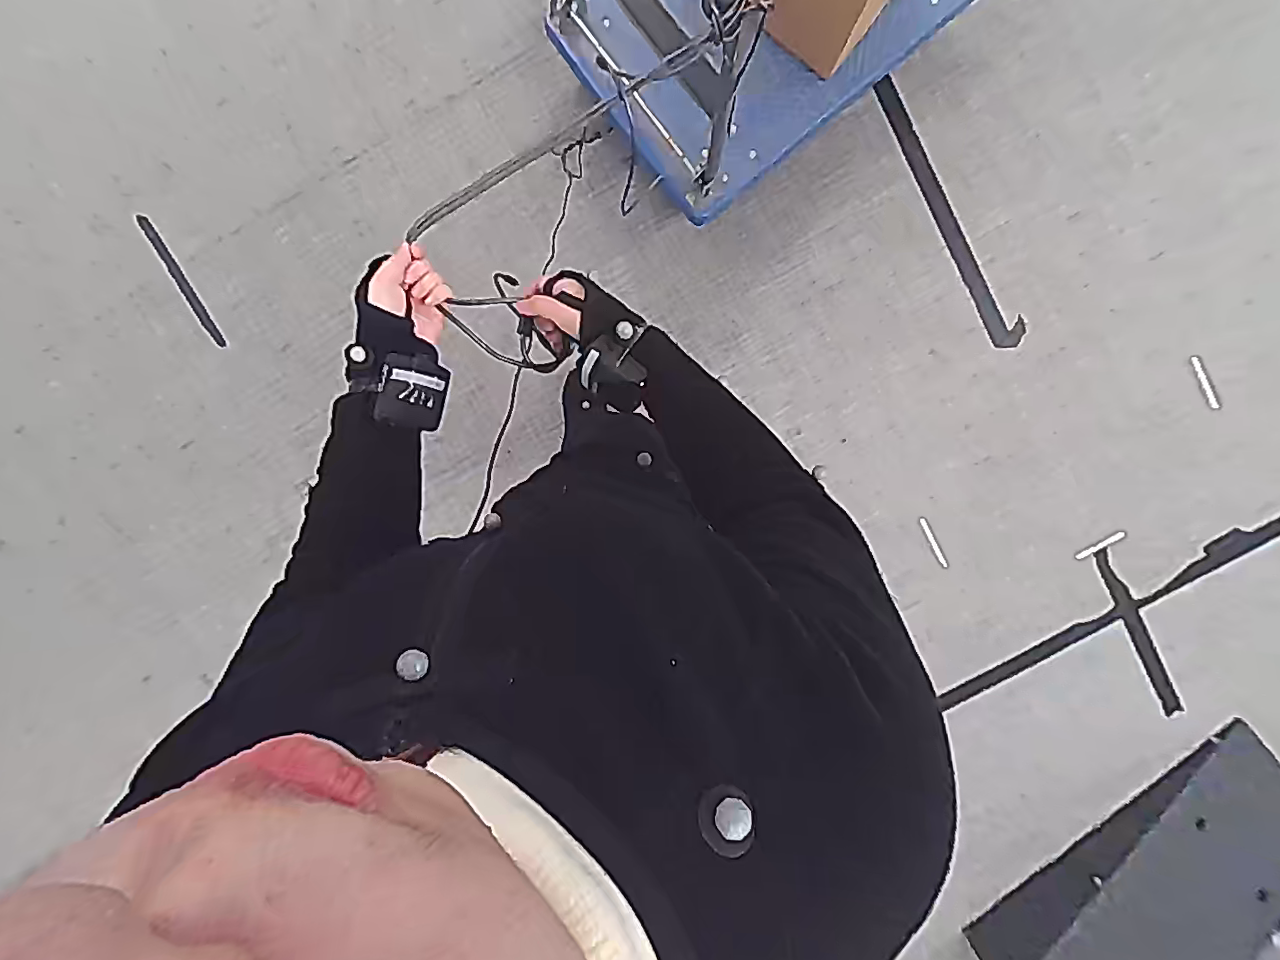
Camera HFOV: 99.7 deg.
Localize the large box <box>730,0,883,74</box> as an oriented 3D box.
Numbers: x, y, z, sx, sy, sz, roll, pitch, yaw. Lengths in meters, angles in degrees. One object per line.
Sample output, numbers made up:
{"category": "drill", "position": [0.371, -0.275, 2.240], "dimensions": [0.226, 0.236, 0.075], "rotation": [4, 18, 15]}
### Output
{"category": "large box", "position": [0.340, -1.108, 1.021], "dimensions": [0.408, 0.320, 0.320], "rotation": [37, 96, -3]}
